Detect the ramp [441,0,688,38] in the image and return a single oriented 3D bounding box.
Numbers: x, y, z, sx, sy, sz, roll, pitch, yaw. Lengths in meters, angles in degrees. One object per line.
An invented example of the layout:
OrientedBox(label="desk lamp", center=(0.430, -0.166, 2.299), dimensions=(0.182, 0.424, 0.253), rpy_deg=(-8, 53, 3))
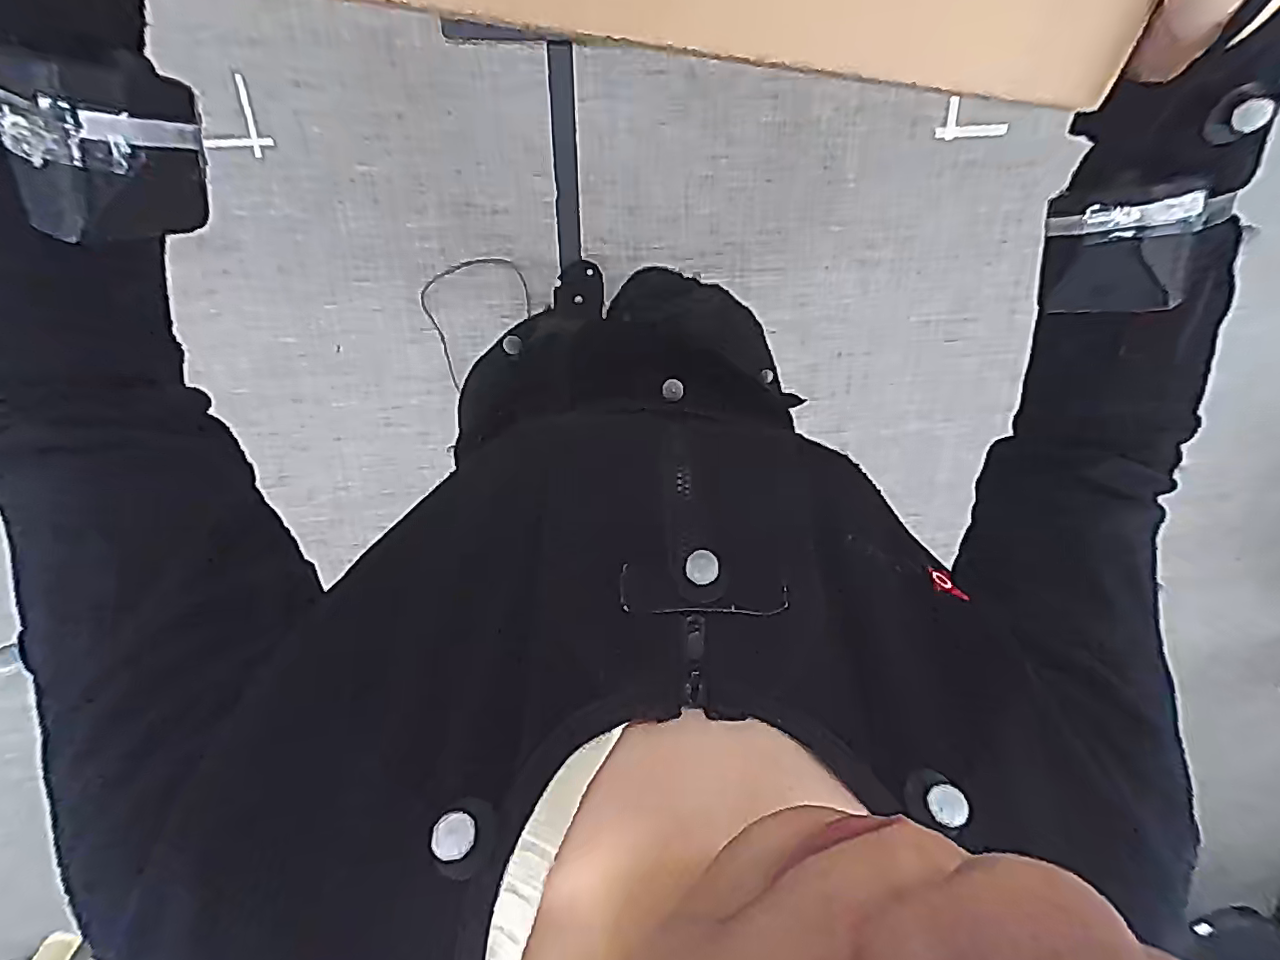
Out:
OrientedBox(label="ramp", center=(-0.129, -1.292, 0.793), dimensions=(0.509, 0.206, 0.991), rpy_deg=(-6, 113, -7))
